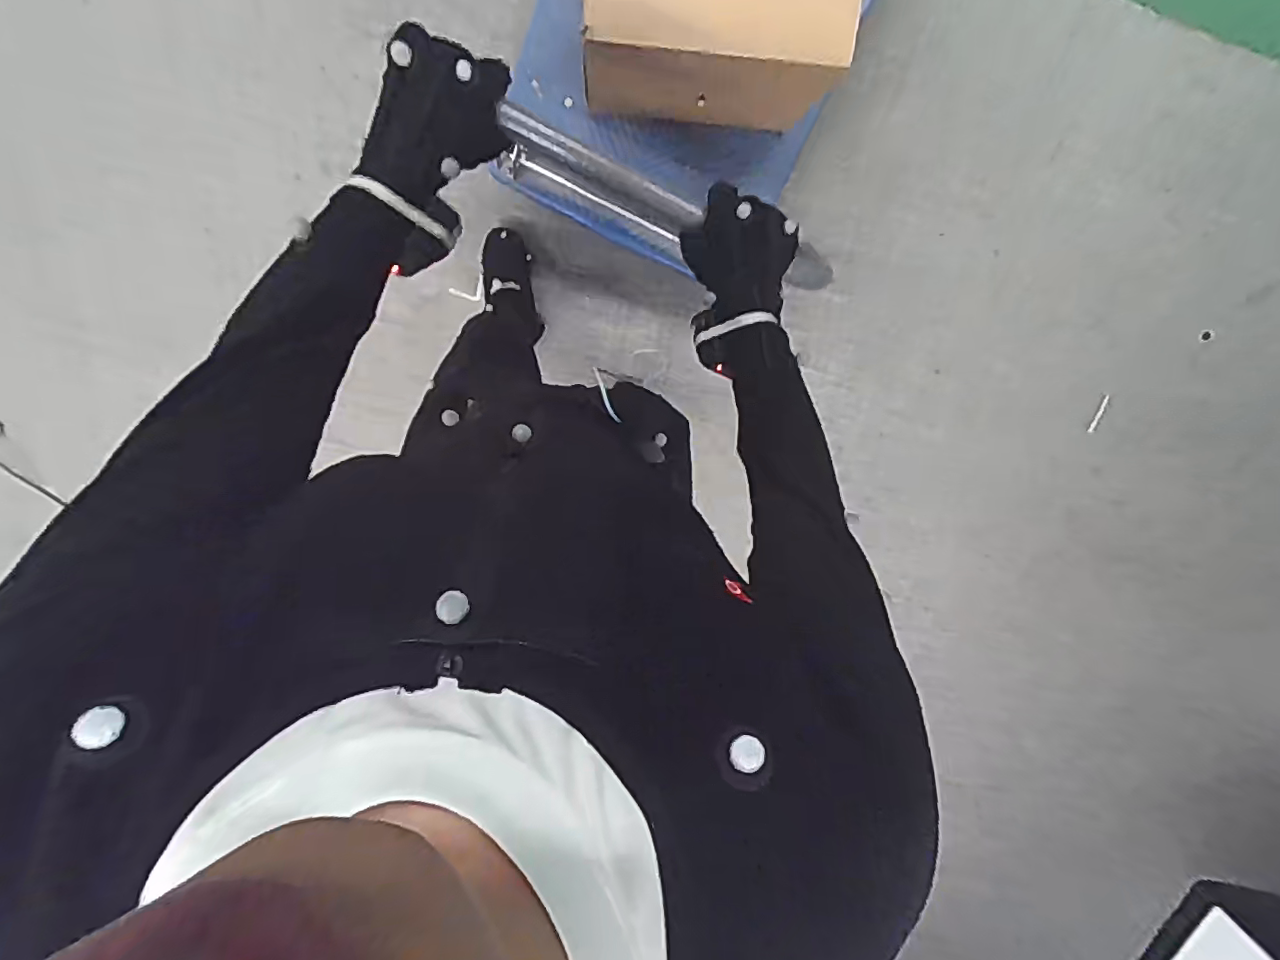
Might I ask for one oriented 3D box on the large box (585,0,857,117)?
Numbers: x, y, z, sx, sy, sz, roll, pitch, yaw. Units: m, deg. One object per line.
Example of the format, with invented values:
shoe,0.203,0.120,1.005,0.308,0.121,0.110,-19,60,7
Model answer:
large box,0.120,-0.836,0.899,0.408,0.320,0.320,2,107,-4
